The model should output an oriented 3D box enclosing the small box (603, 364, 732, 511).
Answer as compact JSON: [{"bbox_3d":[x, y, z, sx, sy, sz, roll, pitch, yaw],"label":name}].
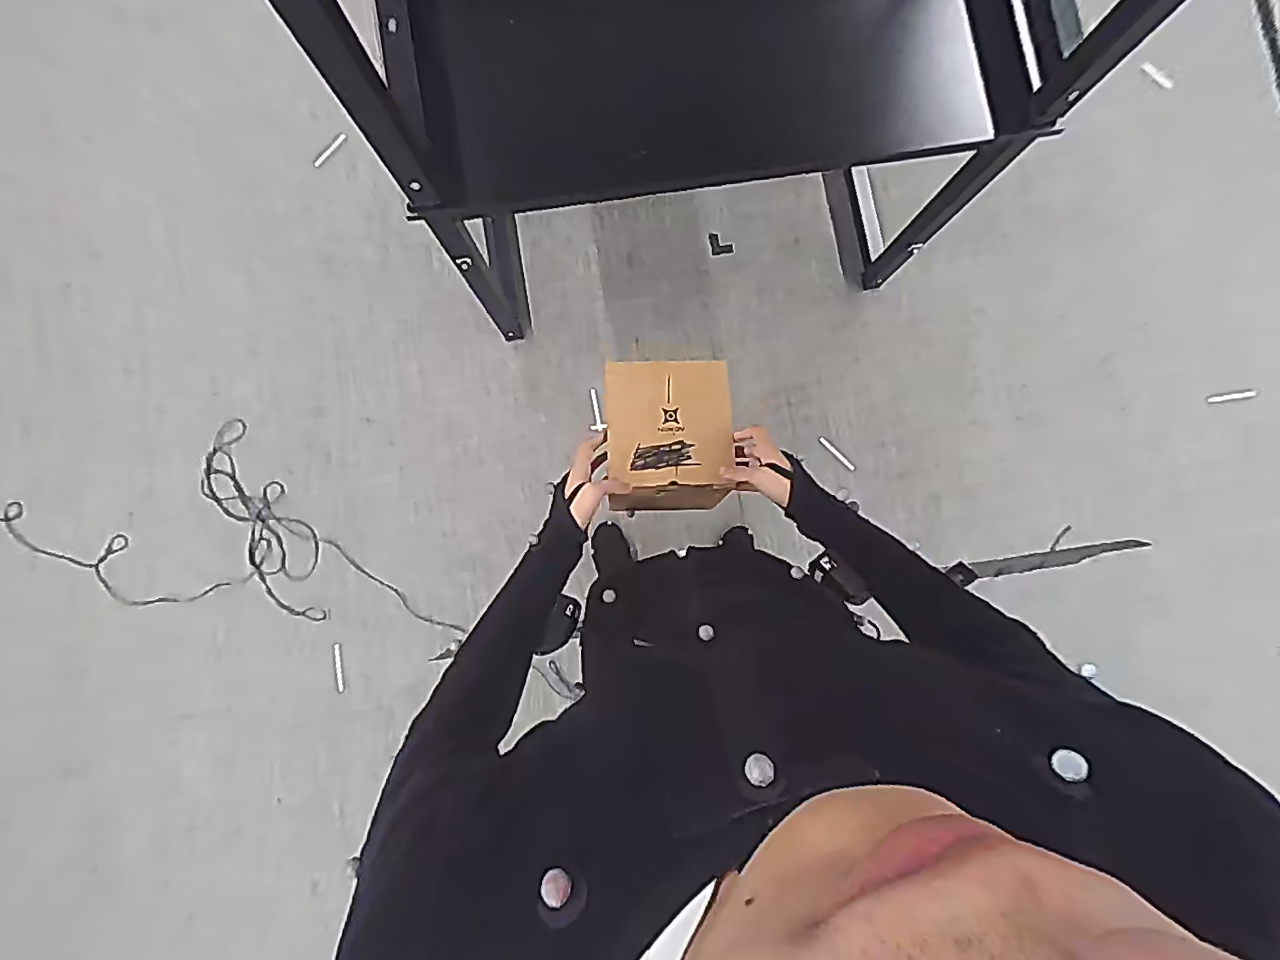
[{"bbox_3d":[0.031,-0.052,0.778,0.168,0.176,0.179,-1,76,-3],"label":"small box"}]
